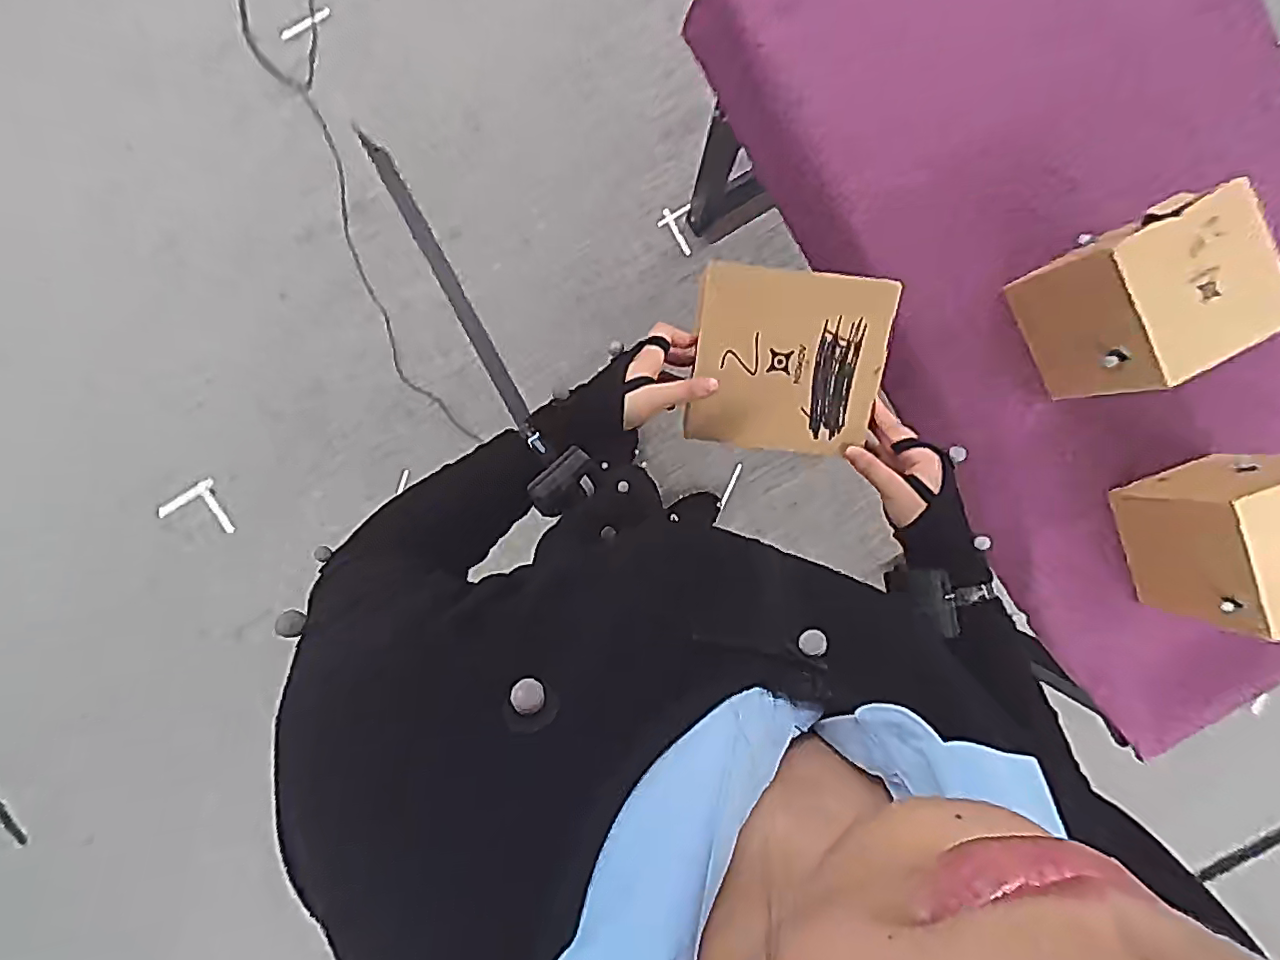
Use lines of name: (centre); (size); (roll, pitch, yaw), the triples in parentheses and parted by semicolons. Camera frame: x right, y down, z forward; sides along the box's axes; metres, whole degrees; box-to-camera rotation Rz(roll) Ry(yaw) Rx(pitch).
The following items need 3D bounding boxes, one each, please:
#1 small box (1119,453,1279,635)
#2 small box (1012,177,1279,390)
small box: (0.773, 0.069, 0.690); (0.168, 0.176, 0.179); (-20, 94, 0)
small box: (0.618, -0.222, 0.669); (0.168, 0.176, 0.179); (-27, 94, 0)
